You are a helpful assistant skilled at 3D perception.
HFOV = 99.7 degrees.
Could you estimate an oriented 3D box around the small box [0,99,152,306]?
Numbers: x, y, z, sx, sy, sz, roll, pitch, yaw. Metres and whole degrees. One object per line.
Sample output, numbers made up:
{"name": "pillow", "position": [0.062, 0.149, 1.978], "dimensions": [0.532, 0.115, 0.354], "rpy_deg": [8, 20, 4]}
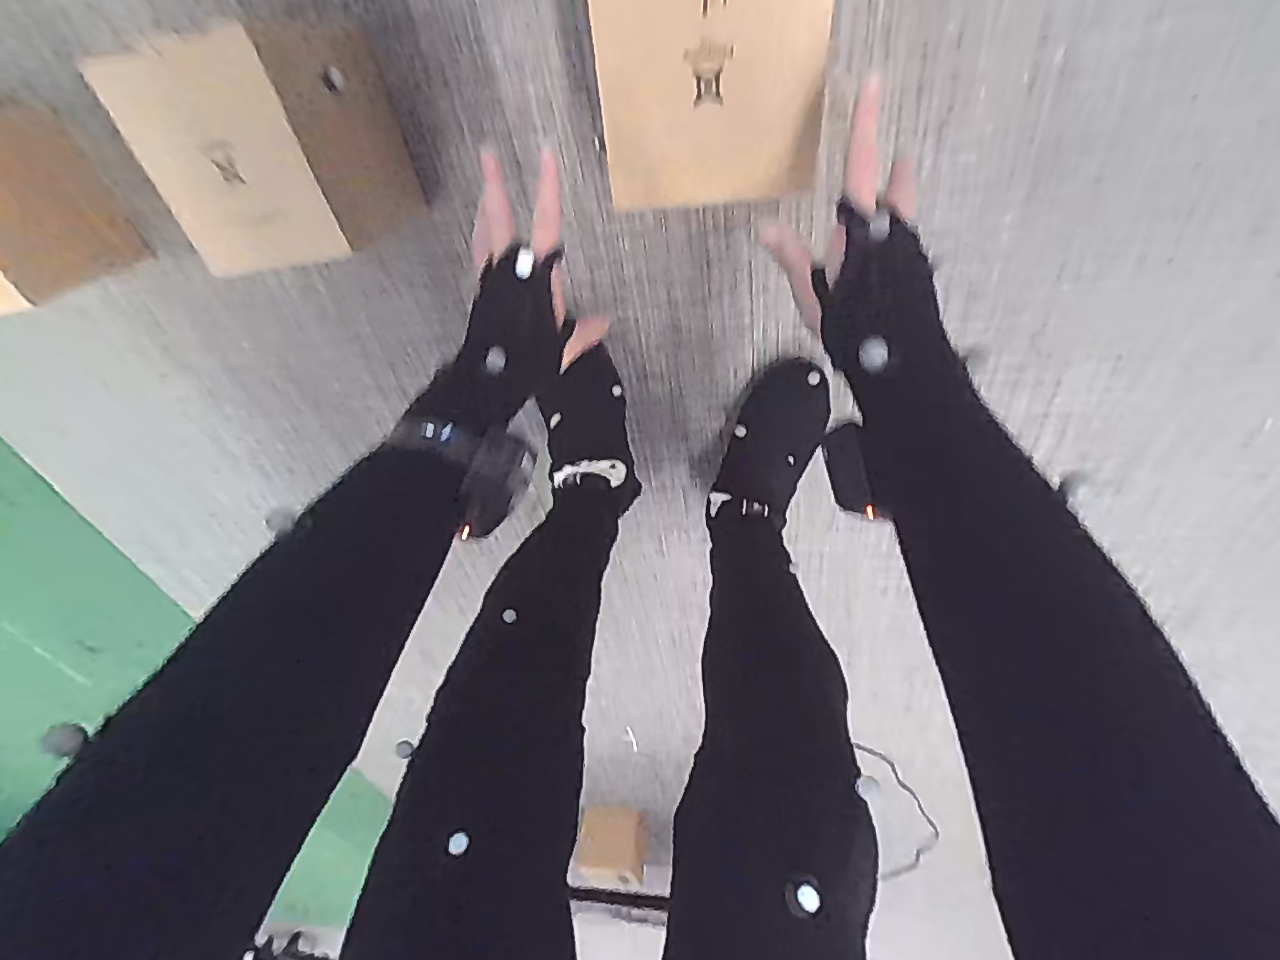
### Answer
{"name": "small box", "position": [-0.732, -0.310, 0.615], "dimensions": [0.168, 0.176, 0.179], "rpy_deg": [-3, 127, 12]}

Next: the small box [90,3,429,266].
{"name": "small box", "position": [-0.342, -0.333, 0.532], "dimensions": [0.168, 0.176, 0.179], "rpy_deg": [-3, 128, 12]}

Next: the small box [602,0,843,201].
{"name": "small box", "position": [0.068, -0.349, 0.447], "dimensions": [0.168, 0.176, 0.179], "rpy_deg": [0, 128, 9]}
